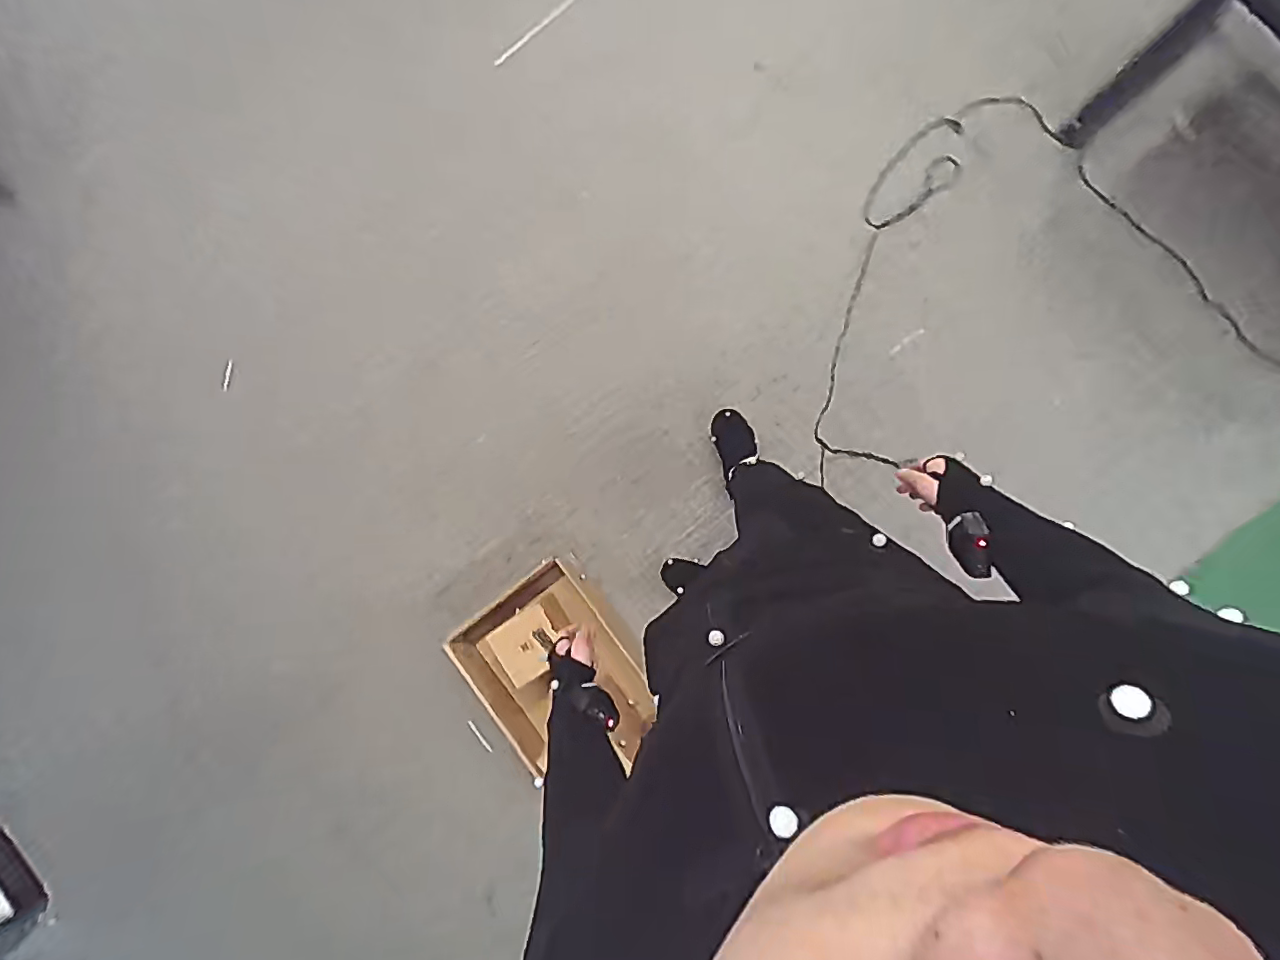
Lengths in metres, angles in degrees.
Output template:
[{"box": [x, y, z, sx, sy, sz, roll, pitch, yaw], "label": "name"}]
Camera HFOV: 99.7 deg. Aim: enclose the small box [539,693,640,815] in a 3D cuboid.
[{"box": [-0.114, 0.662, 1.326, 0.179, 0.176, 0.168, -41, 86, 2], "label": "small box"}]
